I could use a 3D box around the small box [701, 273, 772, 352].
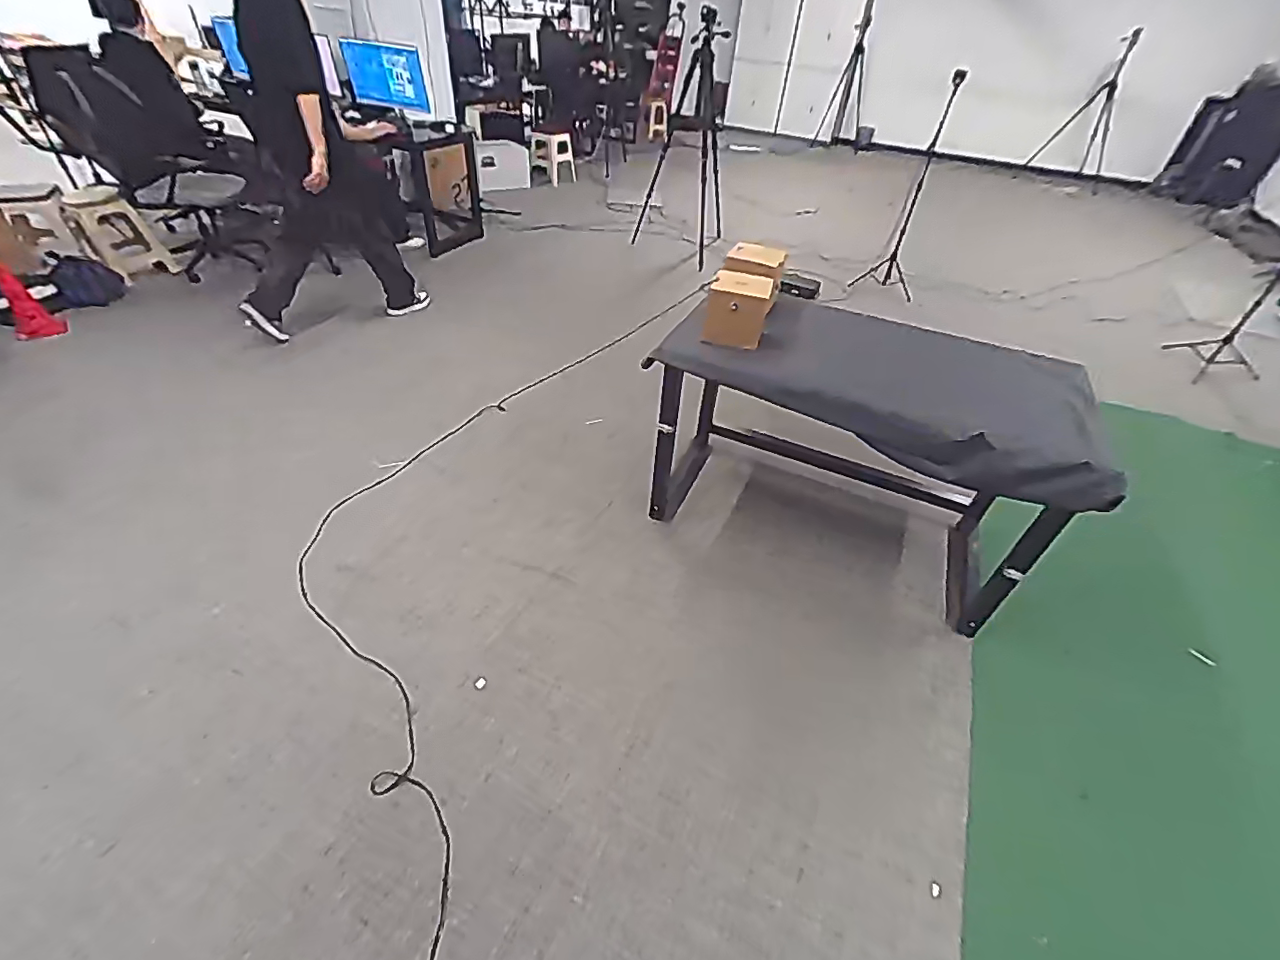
[{"bbox_3d":[0.293,-0.513,1.659,0.179,0.176,0.168,15,42,8],"label":"small box"}]

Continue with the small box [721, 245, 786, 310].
[{"bbox_3d":[0.380,-0.682,1.860,0.179,0.176,0.168,20,44,15],"label":"small box"}]
